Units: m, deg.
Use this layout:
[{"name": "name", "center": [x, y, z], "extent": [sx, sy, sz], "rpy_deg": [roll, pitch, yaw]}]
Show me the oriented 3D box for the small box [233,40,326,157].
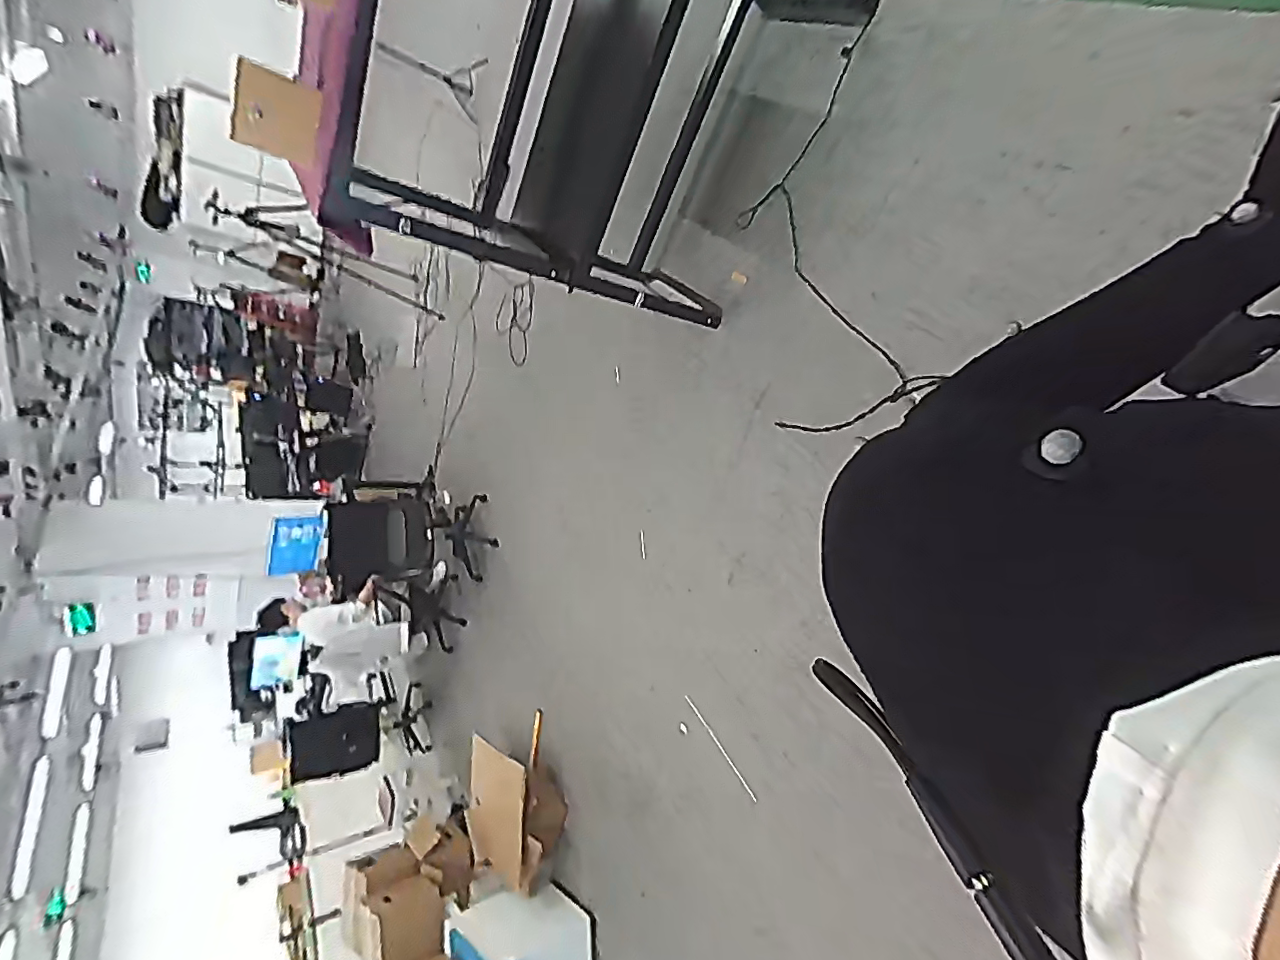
[{"name": "small box", "center": [-0.865, -0.908, 1.296], "extent": [0.168, 0.176, 0.179], "rpy_deg": [47, 121, 40]}]
